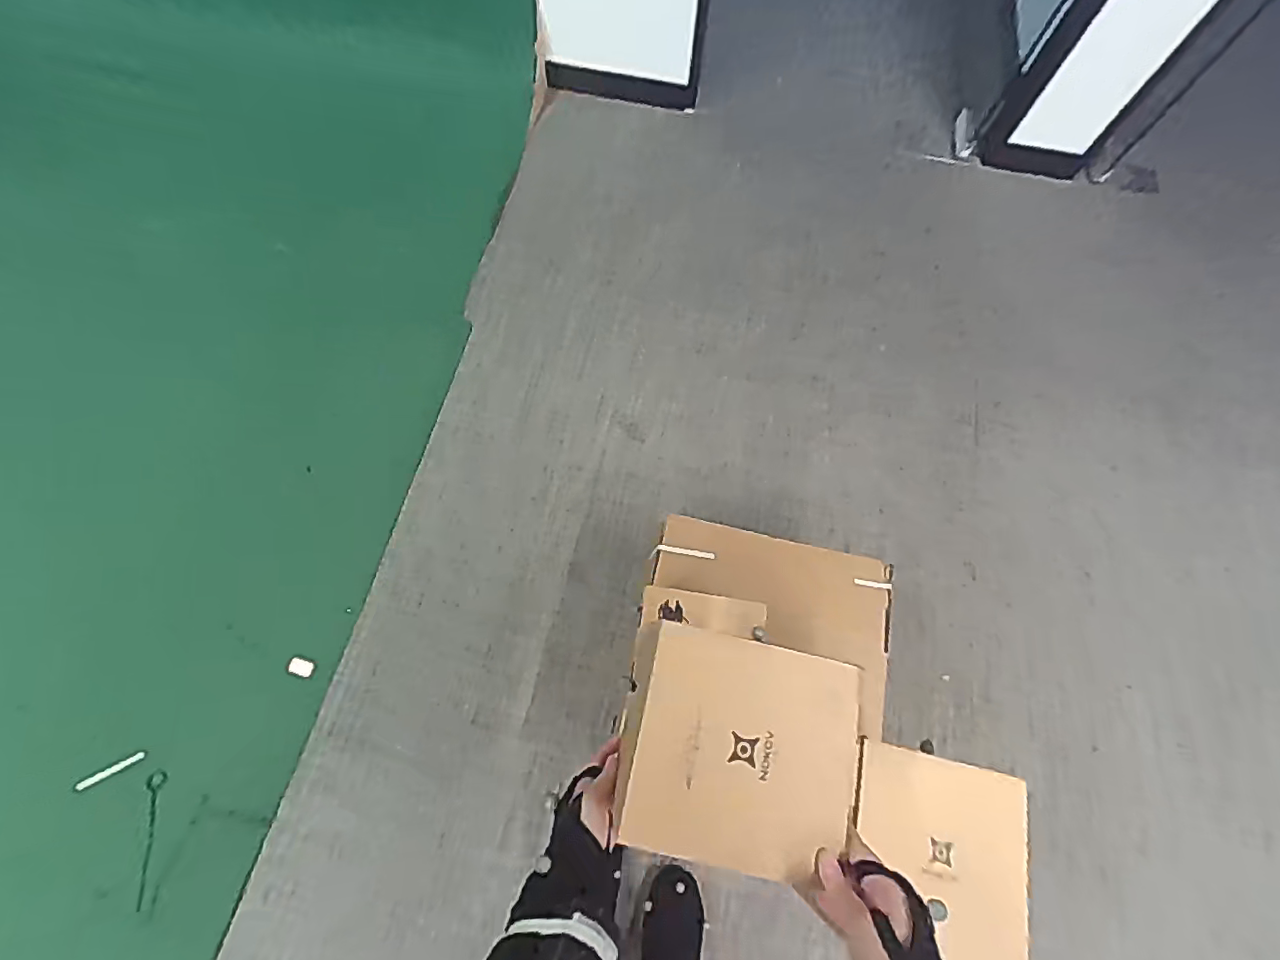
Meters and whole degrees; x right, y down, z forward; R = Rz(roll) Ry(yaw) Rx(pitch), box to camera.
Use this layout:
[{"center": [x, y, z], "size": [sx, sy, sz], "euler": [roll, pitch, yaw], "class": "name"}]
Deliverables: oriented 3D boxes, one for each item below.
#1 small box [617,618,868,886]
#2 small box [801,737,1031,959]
[{"center": [0.082, 0.231, 0.504], "size": [0.179, 0.176, 0.168], "euler": [14, 73, 0], "class": "small box"}, {"center": [0.279, 0.382, 0.581], "size": [0.168, 0.176, 0.179], "euler": [14, 70, 2], "class": "small box"}]
